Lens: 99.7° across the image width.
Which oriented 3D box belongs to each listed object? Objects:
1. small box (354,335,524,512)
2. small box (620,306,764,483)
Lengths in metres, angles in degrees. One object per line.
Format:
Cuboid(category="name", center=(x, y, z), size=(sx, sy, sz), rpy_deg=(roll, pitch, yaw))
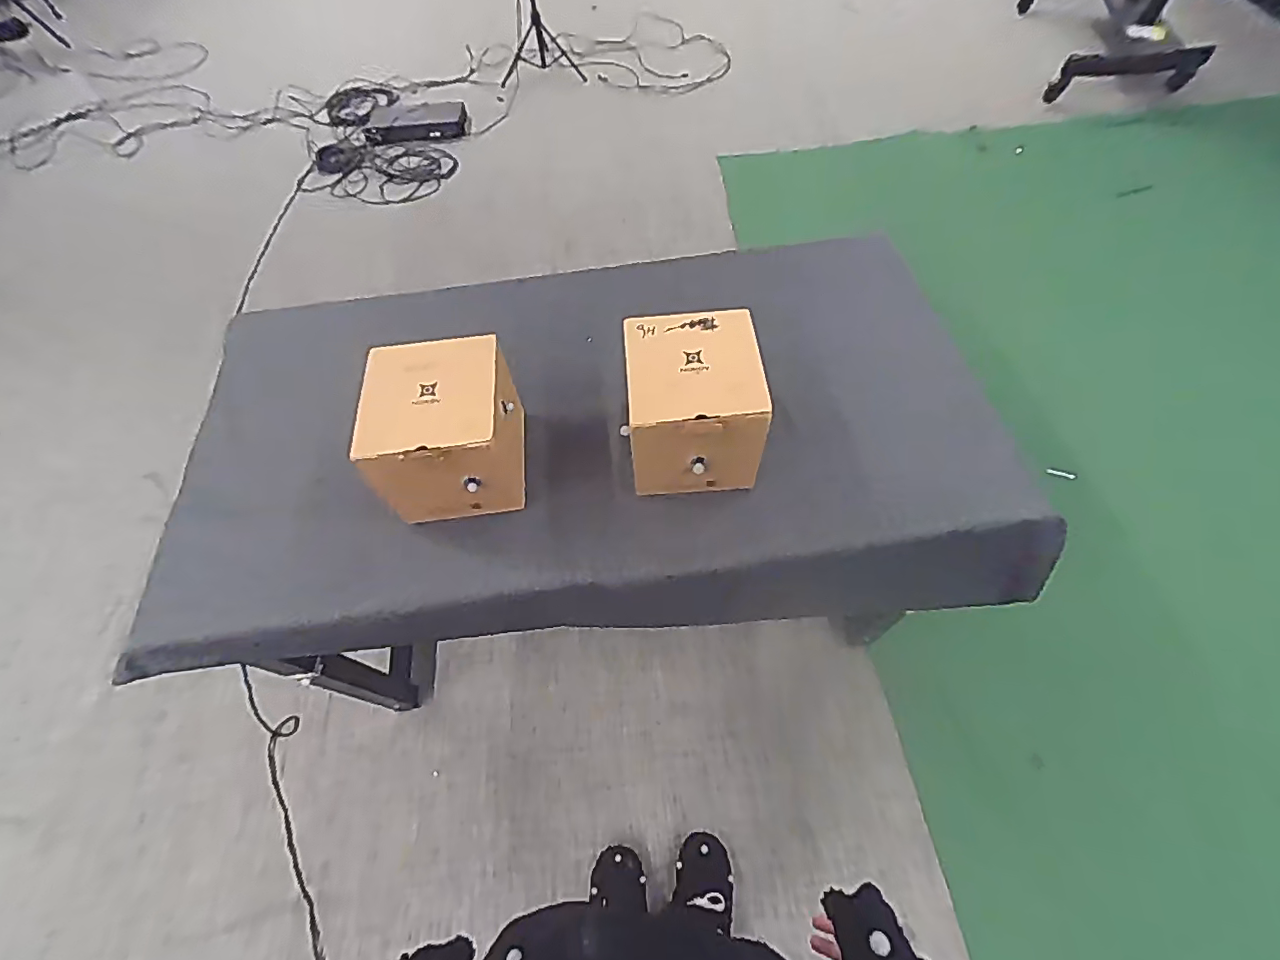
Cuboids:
Cuboid(category="small box", center=(-0.257, -0.068, 0.737), size=(0.168, 0.176, 0.179), rpy_deg=(-8, 59, -2))
Cuboid(category="small box", center=(0.065, -0.105, 0.733), size=(0.168, 0.176, 0.179), rpy_deg=(-5, 61, 1))
